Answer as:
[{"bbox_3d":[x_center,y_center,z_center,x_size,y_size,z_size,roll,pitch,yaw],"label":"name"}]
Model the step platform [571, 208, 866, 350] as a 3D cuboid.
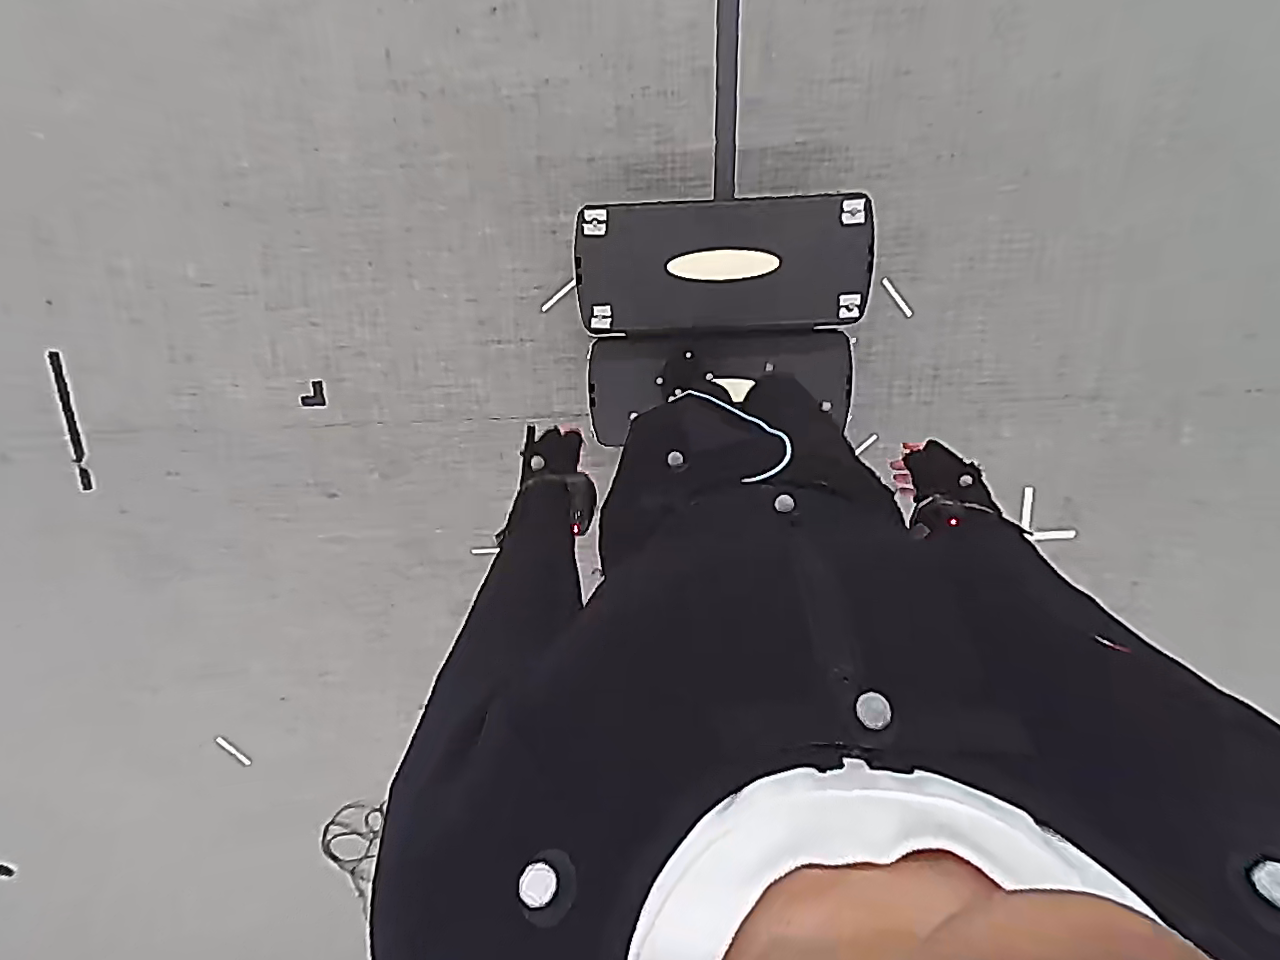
[{"bbox_3d":[0.177,-0.474,1.302,0.684,0.204,0.286,-3,105,2],"label":"step platform"}]
